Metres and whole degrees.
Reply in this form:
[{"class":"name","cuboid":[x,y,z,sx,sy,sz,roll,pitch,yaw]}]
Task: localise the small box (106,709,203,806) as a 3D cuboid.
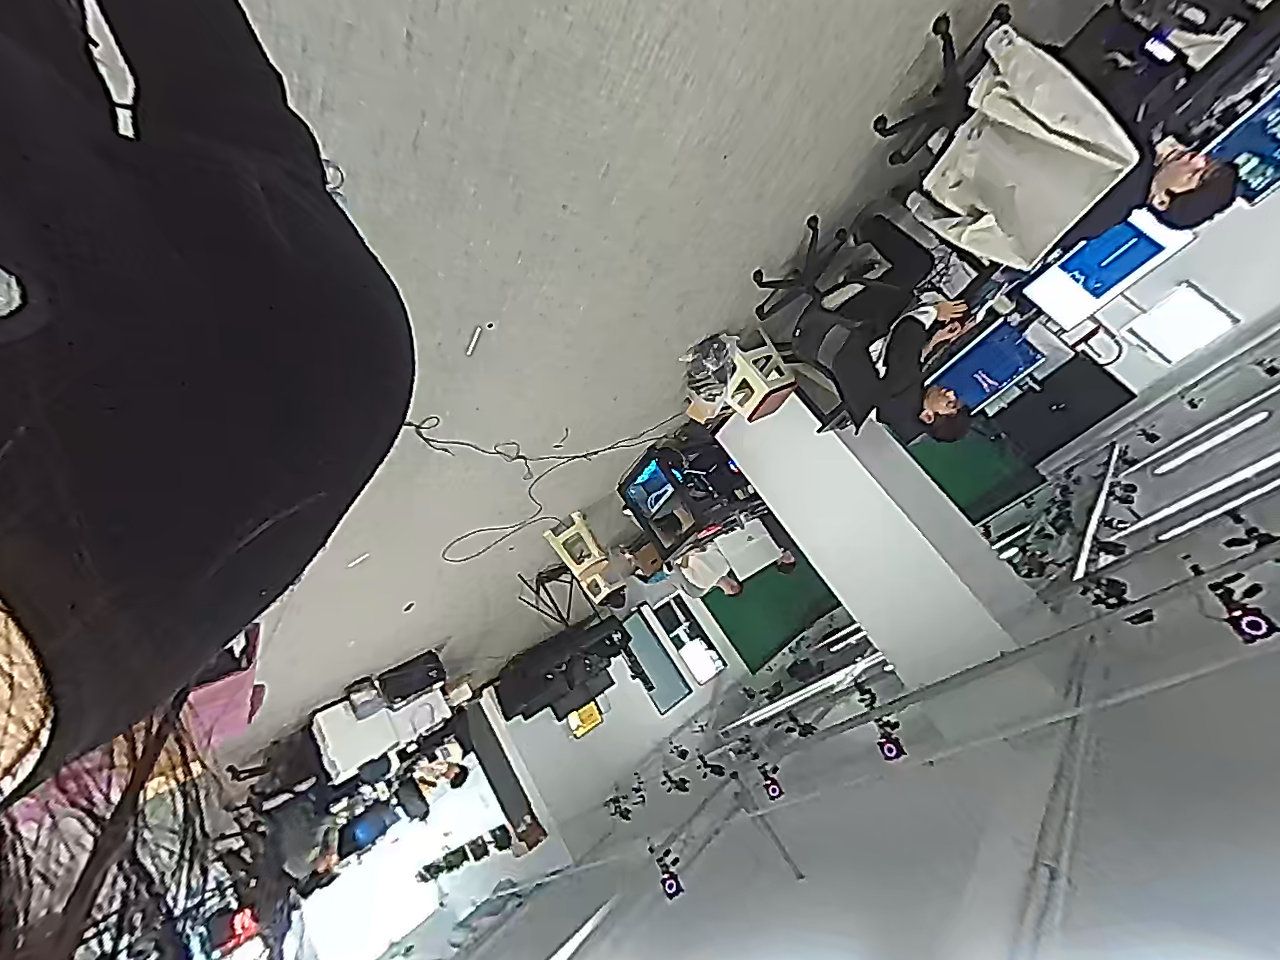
[{"class":"small box","cuboid":[-1.362,0.777,1.523,0.168,0.176,0.179,-19,157,-44]}]
